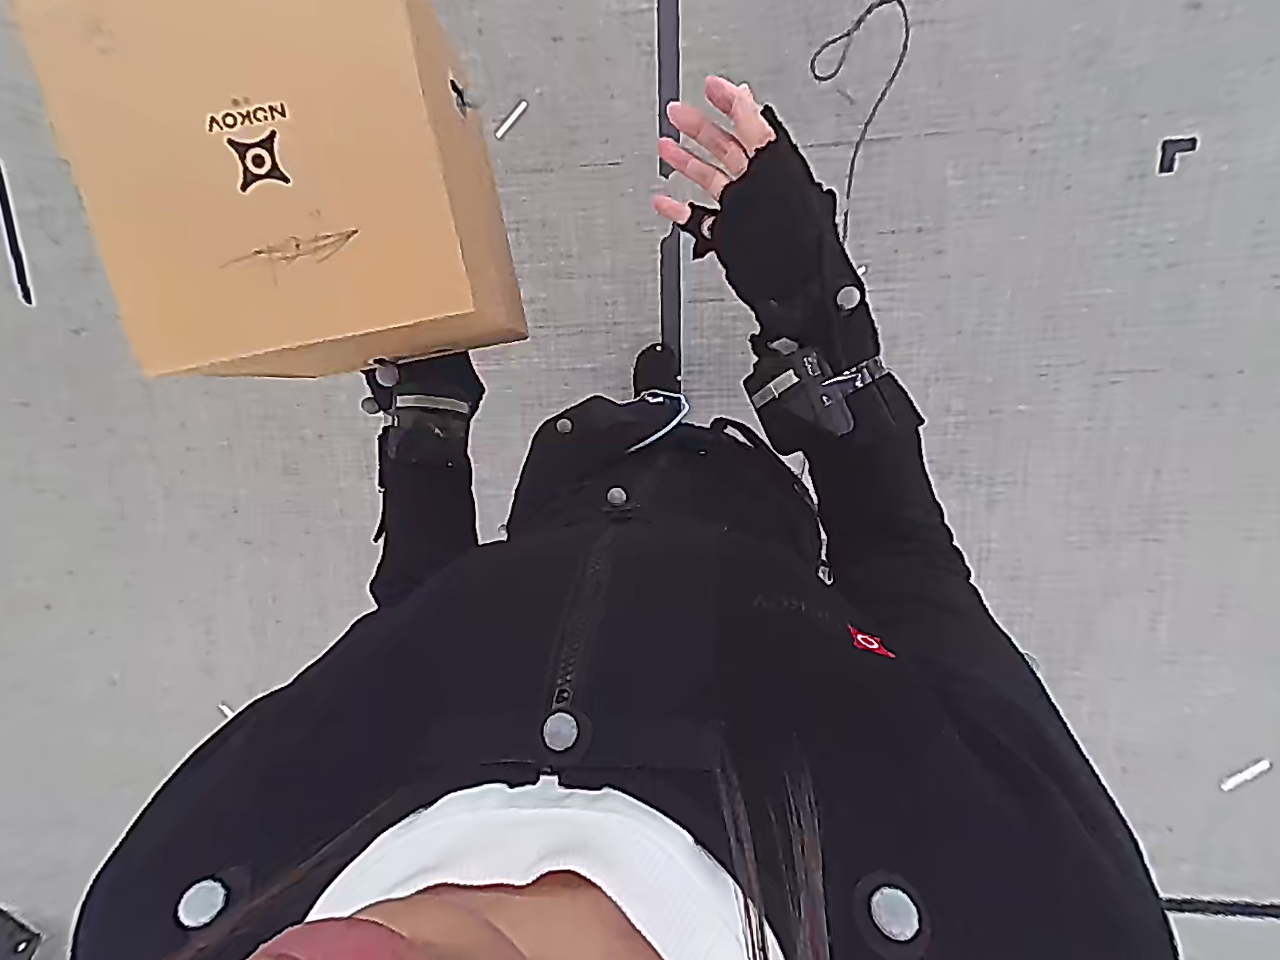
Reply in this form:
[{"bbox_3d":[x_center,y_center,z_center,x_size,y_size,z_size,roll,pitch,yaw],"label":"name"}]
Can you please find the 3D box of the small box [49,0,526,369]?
[{"bbox_3d":[-0.180,-0.172,0.341,0.168,0.176,0.179,-11,100,0],"label":"small box"}]
